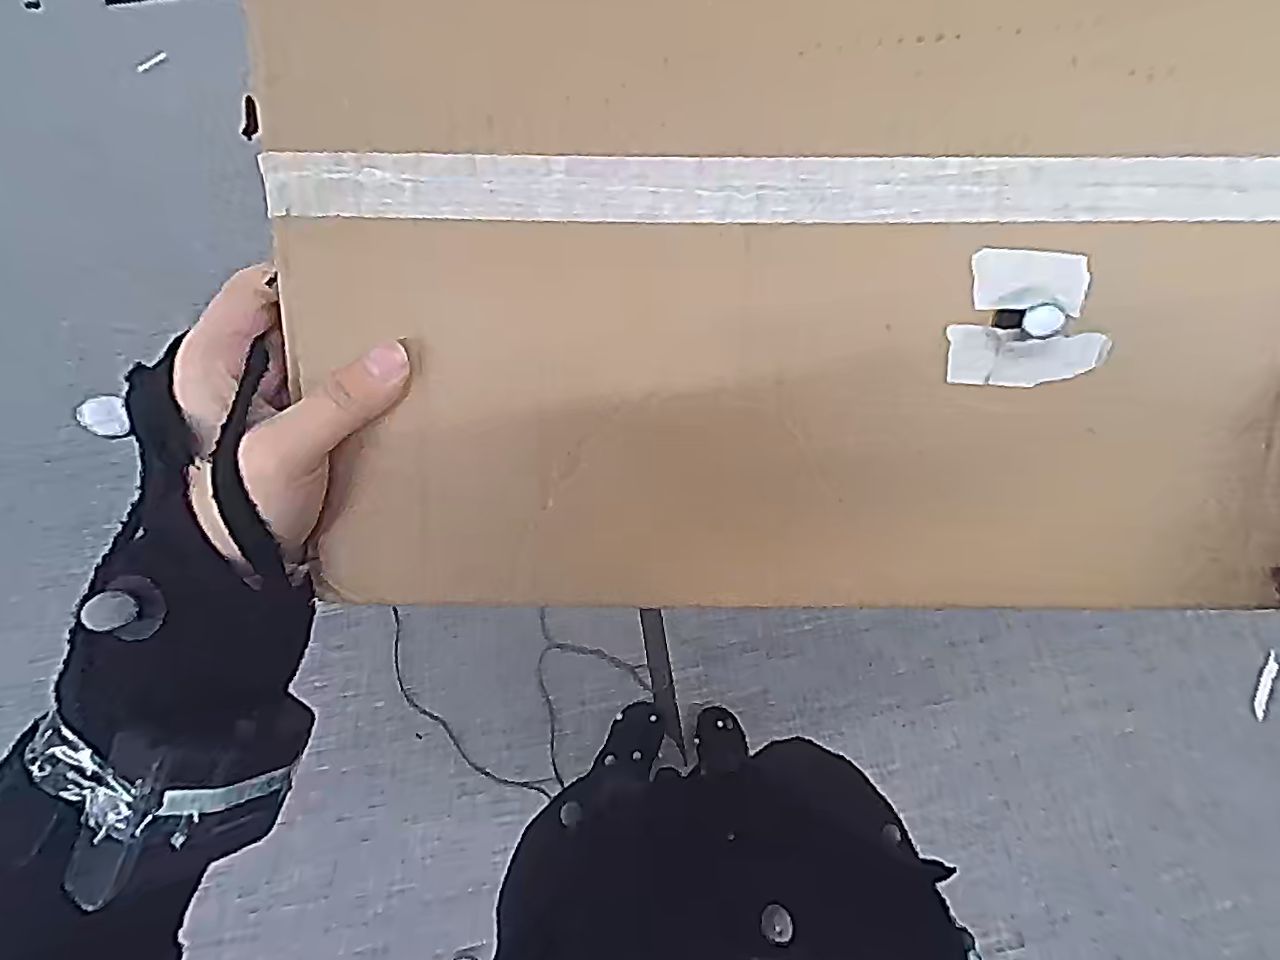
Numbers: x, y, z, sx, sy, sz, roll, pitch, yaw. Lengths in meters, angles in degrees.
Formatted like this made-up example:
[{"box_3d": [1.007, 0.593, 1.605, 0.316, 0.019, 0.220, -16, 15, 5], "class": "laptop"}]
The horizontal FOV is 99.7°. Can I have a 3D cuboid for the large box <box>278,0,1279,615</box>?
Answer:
[{"box_3d": [0.068, -0.124, 0.349, 0.408, 0.320, 0.320, -1, 101, -1], "class": "large box"}]
